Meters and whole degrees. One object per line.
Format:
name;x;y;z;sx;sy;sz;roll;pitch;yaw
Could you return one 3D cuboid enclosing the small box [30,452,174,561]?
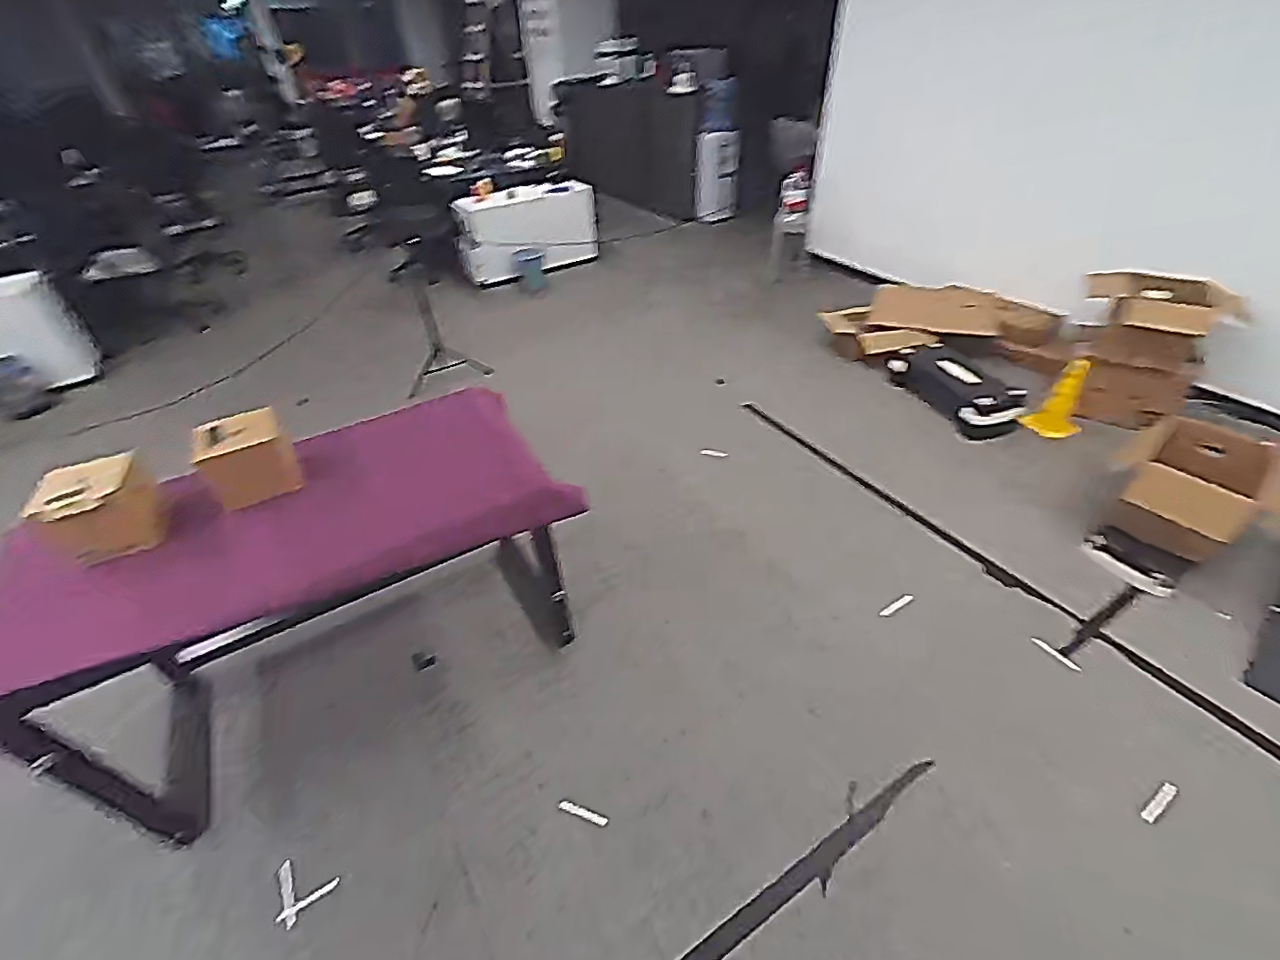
small box;-1.248;0.068;1.275;0.168;0.176;0.179;-19;43;-18
